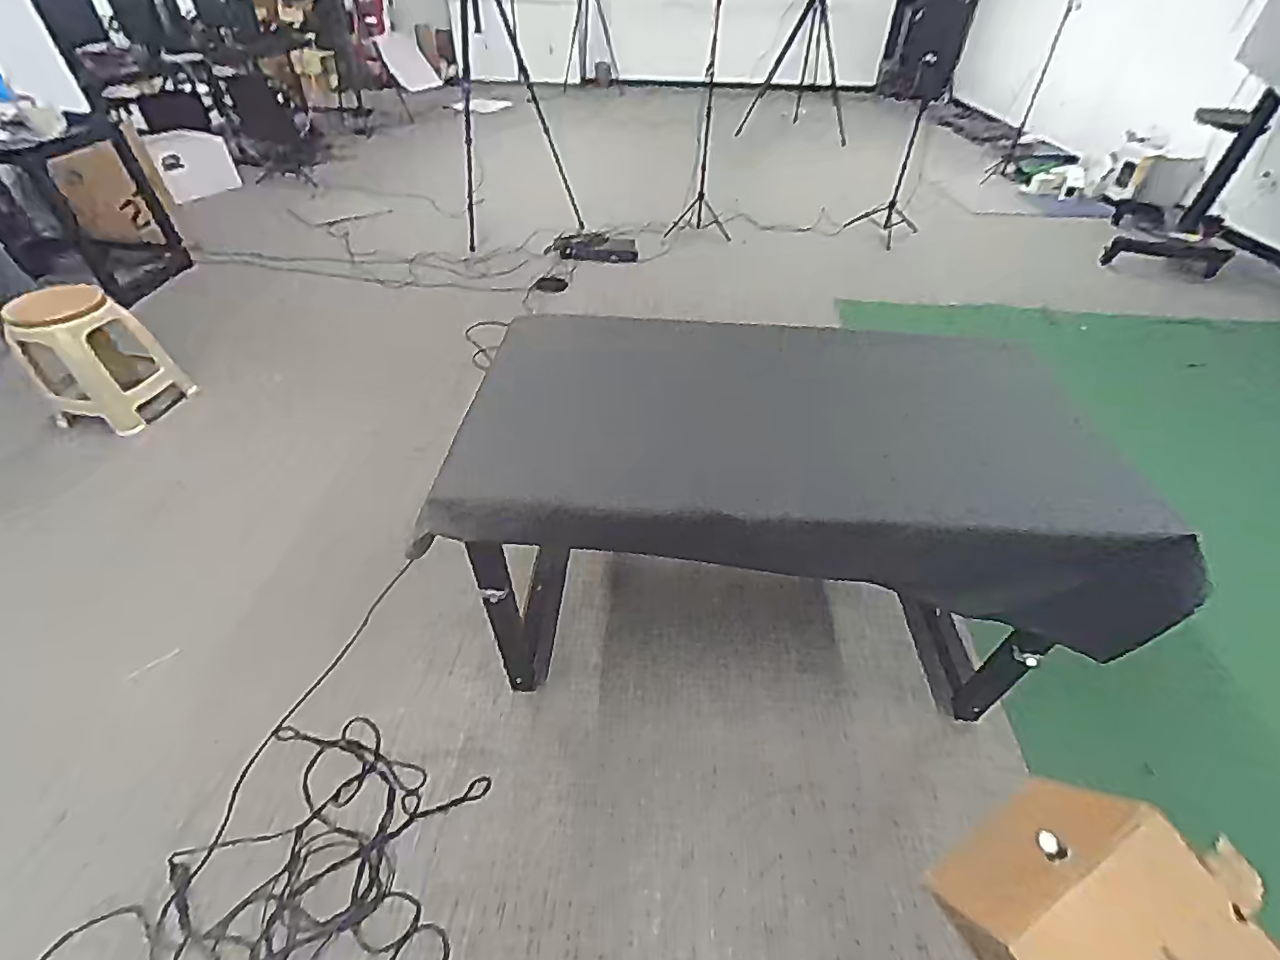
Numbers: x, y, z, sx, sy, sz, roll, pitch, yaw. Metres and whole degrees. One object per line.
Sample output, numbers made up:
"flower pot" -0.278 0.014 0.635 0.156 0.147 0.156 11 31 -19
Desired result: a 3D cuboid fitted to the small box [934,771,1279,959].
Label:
"small box" 0.398 0.392 0.479 0.179 0.176 0.168 -34 70 -10
